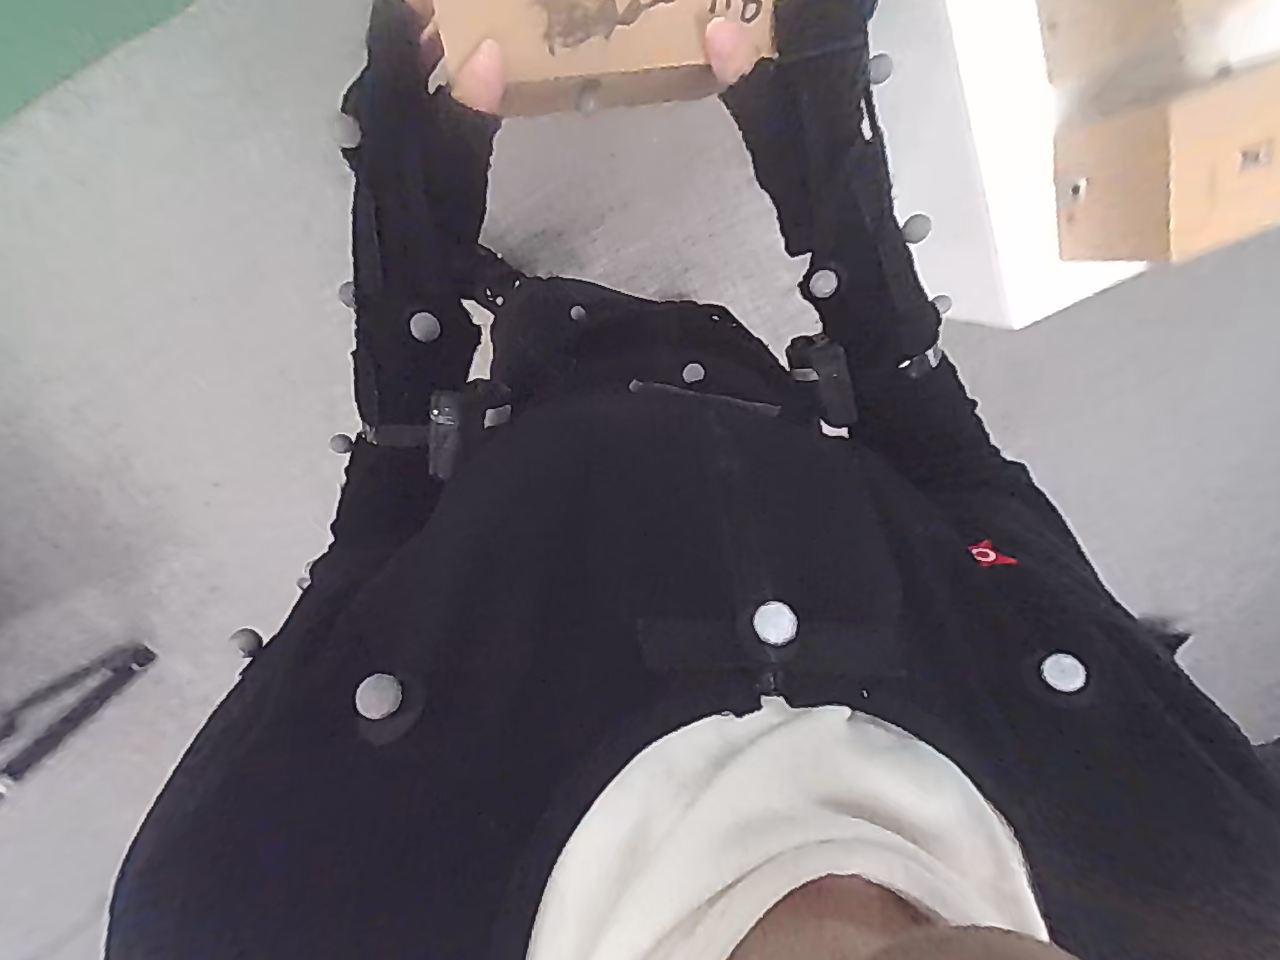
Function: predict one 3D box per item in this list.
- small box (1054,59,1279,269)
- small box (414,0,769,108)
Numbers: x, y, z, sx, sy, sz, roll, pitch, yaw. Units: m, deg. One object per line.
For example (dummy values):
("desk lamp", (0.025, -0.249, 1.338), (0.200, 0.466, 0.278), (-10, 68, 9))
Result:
("small box", (0.636, -0.361, 0.632), (0.179, 0.176, 0.168), (-20, 110, 7))
("small box", (-0.037, -0.318, 0.284), (0.168, 0.176, 0.179), (-9, 119, -3))
